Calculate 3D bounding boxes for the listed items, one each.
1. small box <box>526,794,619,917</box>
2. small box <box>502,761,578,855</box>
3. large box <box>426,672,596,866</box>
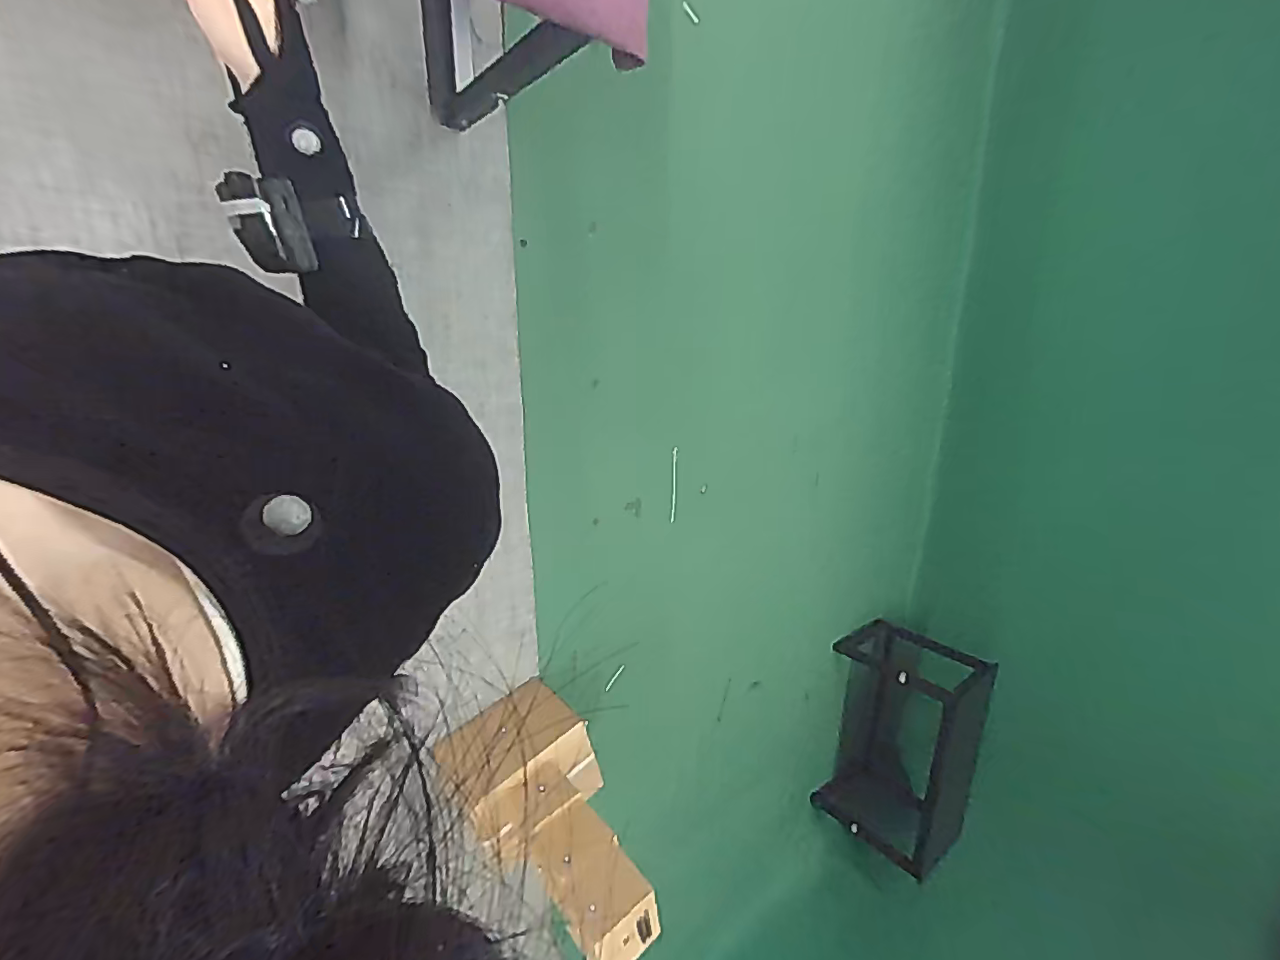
[{"bbox_3d":[-0.182,1.001,1.460,0.179,0.176,0.168,-21,115,-35],"label":"small box"},{"bbox_3d":[-0.284,0.960,1.579,0.168,0.176,0.179,-22,115,-35],"label":"small box"},{"bbox_3d":[-0.418,0.927,1.786,0.408,0.320,0.320,-29,121,-34],"label":"large box"}]
